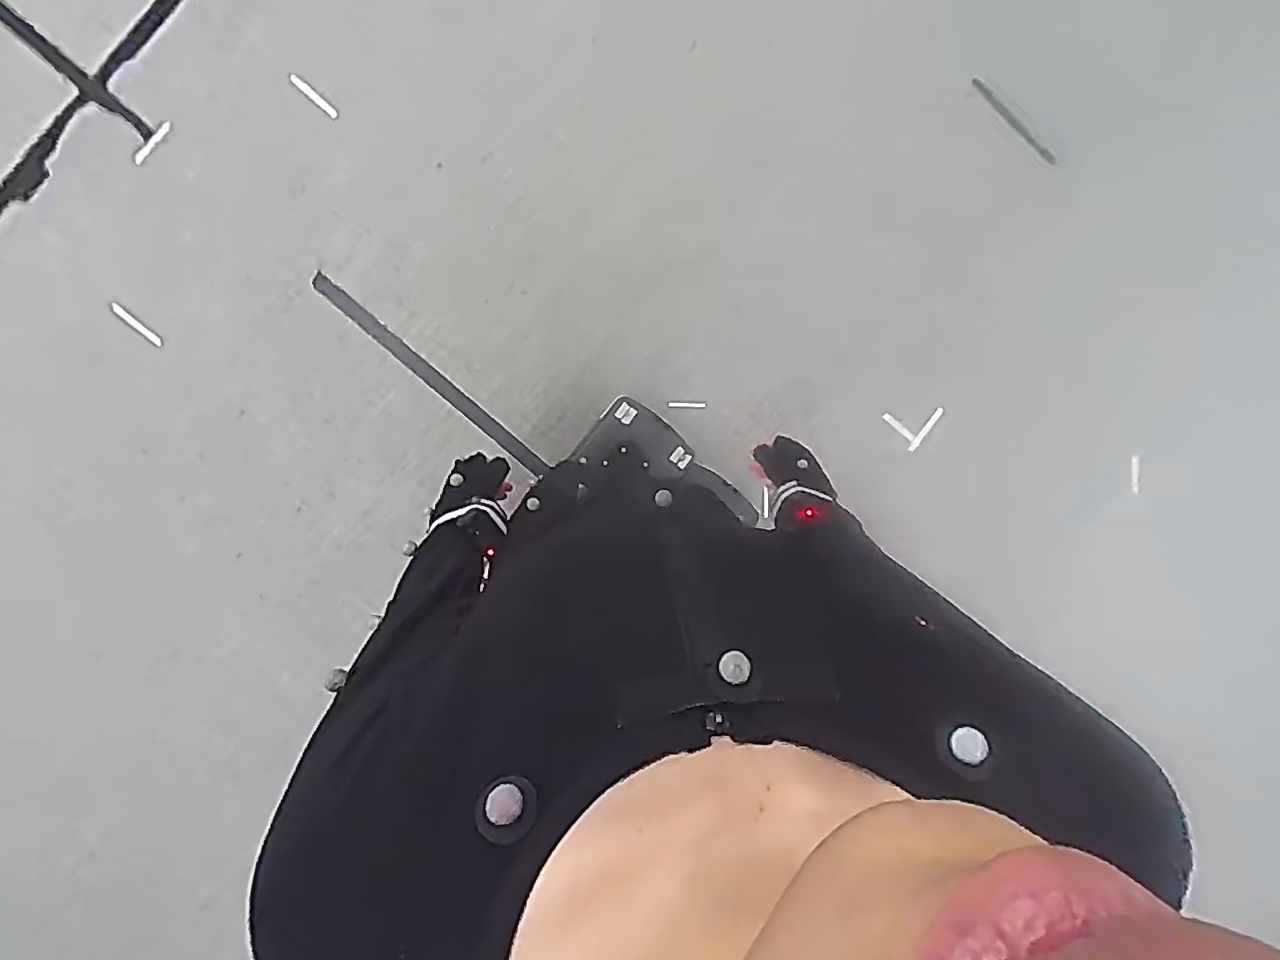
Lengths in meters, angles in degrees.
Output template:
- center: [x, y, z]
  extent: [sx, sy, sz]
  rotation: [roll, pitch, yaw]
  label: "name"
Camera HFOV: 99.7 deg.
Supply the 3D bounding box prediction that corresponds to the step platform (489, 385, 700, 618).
- center: [-0.130, 0.058, 1.570]
  extent: [0.286, 0.204, 0.684]
  rotation: [38, 88, -7]
  label: "step platform"
